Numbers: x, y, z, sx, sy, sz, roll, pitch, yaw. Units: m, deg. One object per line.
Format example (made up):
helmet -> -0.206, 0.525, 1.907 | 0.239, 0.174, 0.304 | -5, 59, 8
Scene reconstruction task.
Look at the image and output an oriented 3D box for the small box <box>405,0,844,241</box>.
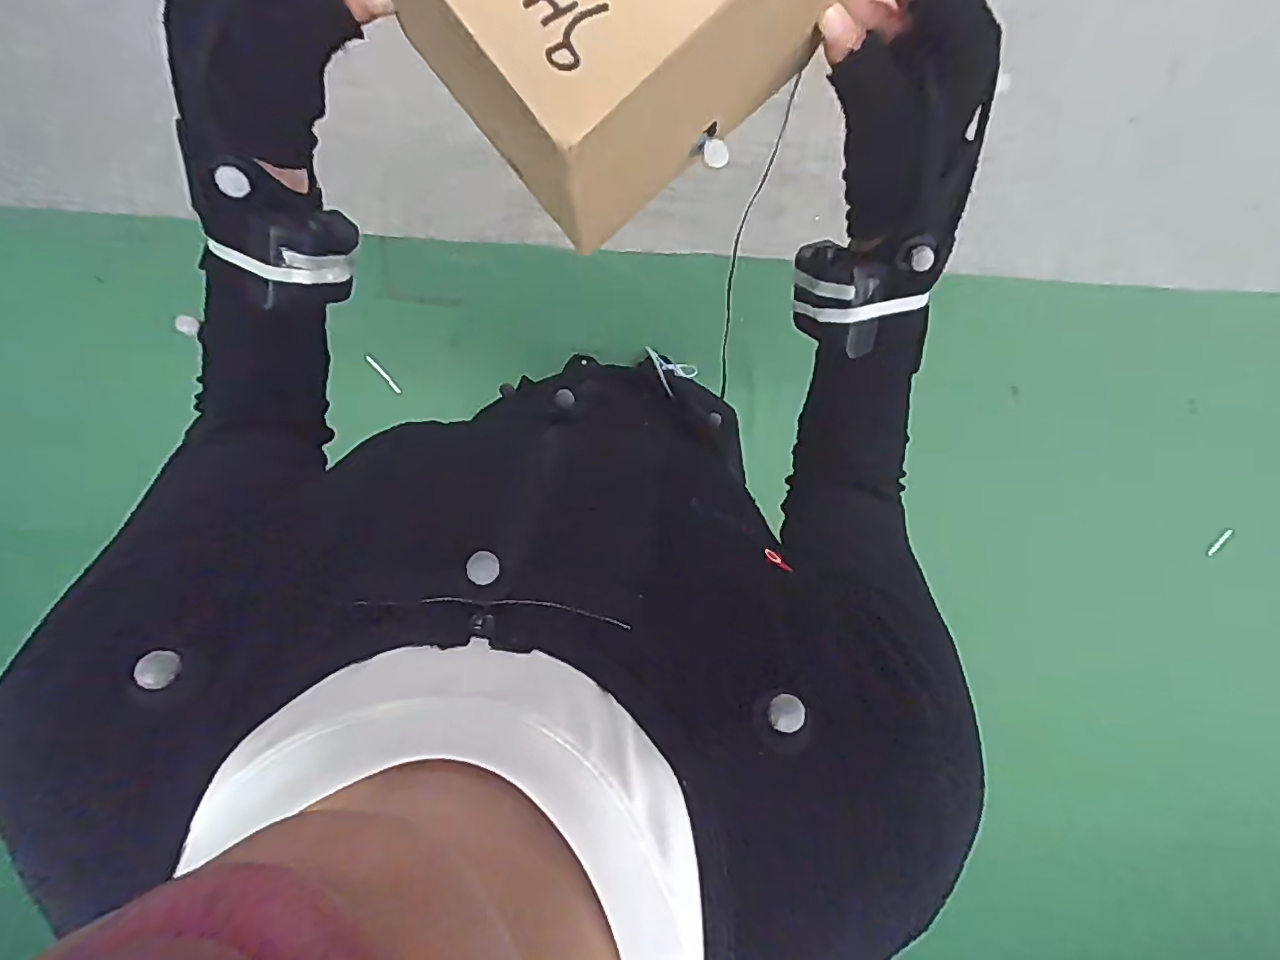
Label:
small box -> -0.011, -0.245, 0.246 | 0.179, 0.176, 0.168 | -39, 101, 4
